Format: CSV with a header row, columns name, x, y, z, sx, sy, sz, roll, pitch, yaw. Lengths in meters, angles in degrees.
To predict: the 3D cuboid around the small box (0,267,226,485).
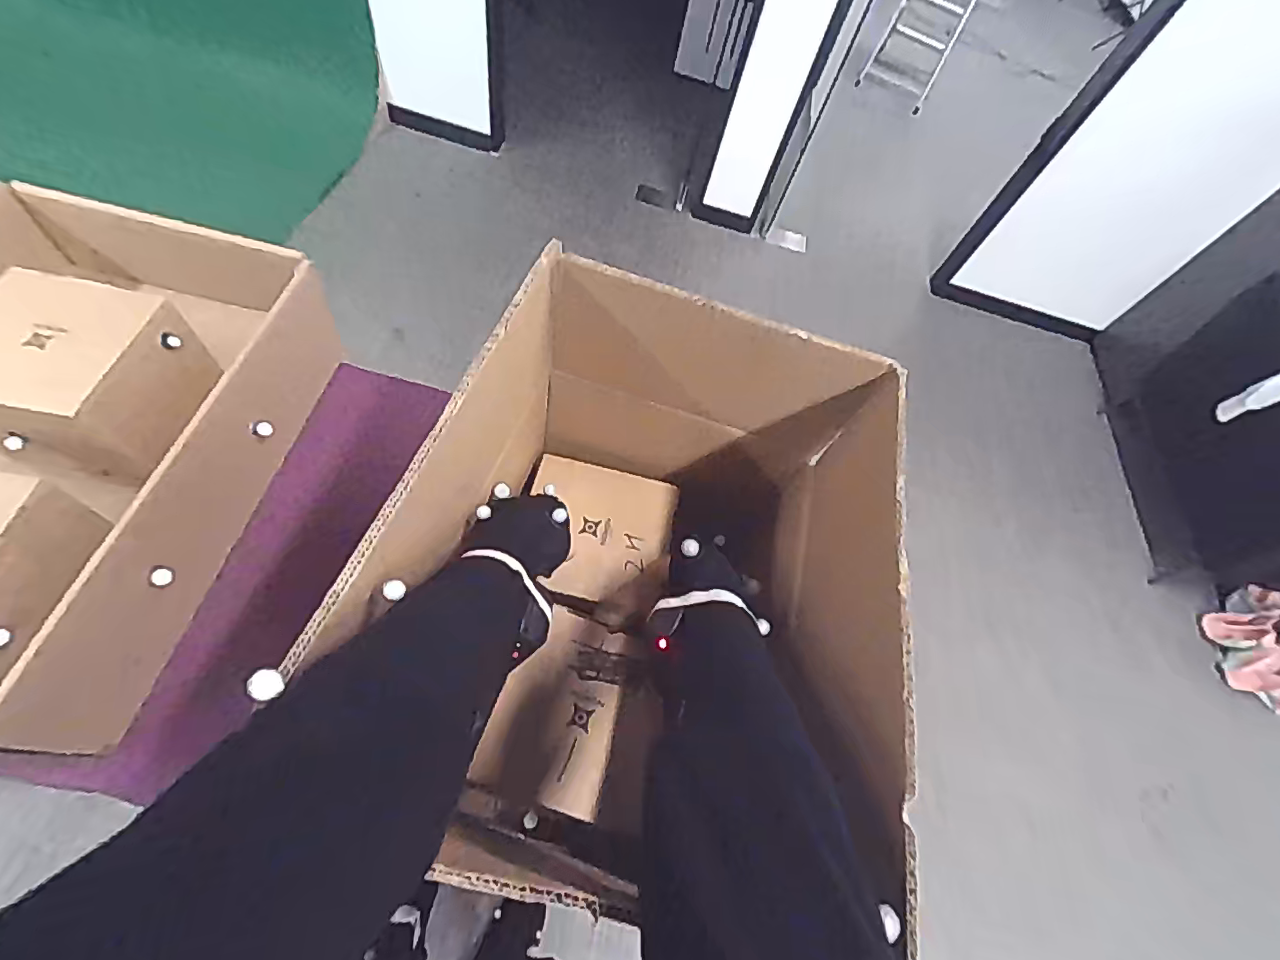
name,x,y,z,sx,sy,sz,roll,pitch,yaw
small box,-0.643,-0.113,0.638,0.168,0.176,0.179,10,59,-5
